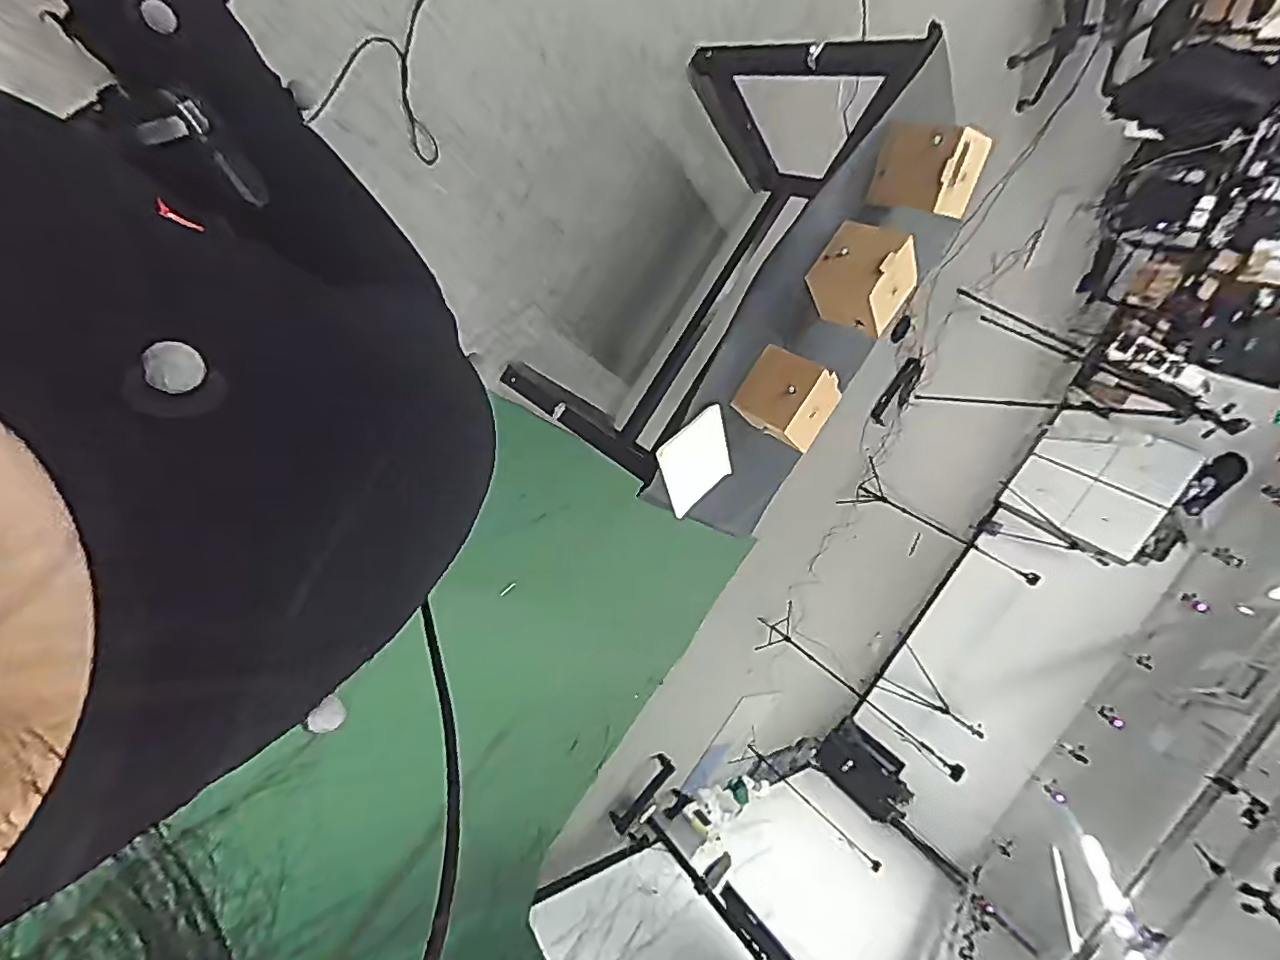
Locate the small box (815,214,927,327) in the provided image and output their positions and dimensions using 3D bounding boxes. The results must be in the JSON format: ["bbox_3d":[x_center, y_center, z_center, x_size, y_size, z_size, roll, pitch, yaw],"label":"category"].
[{"bbox_3d":[0.545,-0.497,1.277,0.168,0.176,0.179,-56,143,2],"label":"small box"}]

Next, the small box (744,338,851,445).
[{"bbox_3d":[0.375,-0.216,1.316,0.168,0.176,0.179,25,98,-53],"label":"small box"}]
